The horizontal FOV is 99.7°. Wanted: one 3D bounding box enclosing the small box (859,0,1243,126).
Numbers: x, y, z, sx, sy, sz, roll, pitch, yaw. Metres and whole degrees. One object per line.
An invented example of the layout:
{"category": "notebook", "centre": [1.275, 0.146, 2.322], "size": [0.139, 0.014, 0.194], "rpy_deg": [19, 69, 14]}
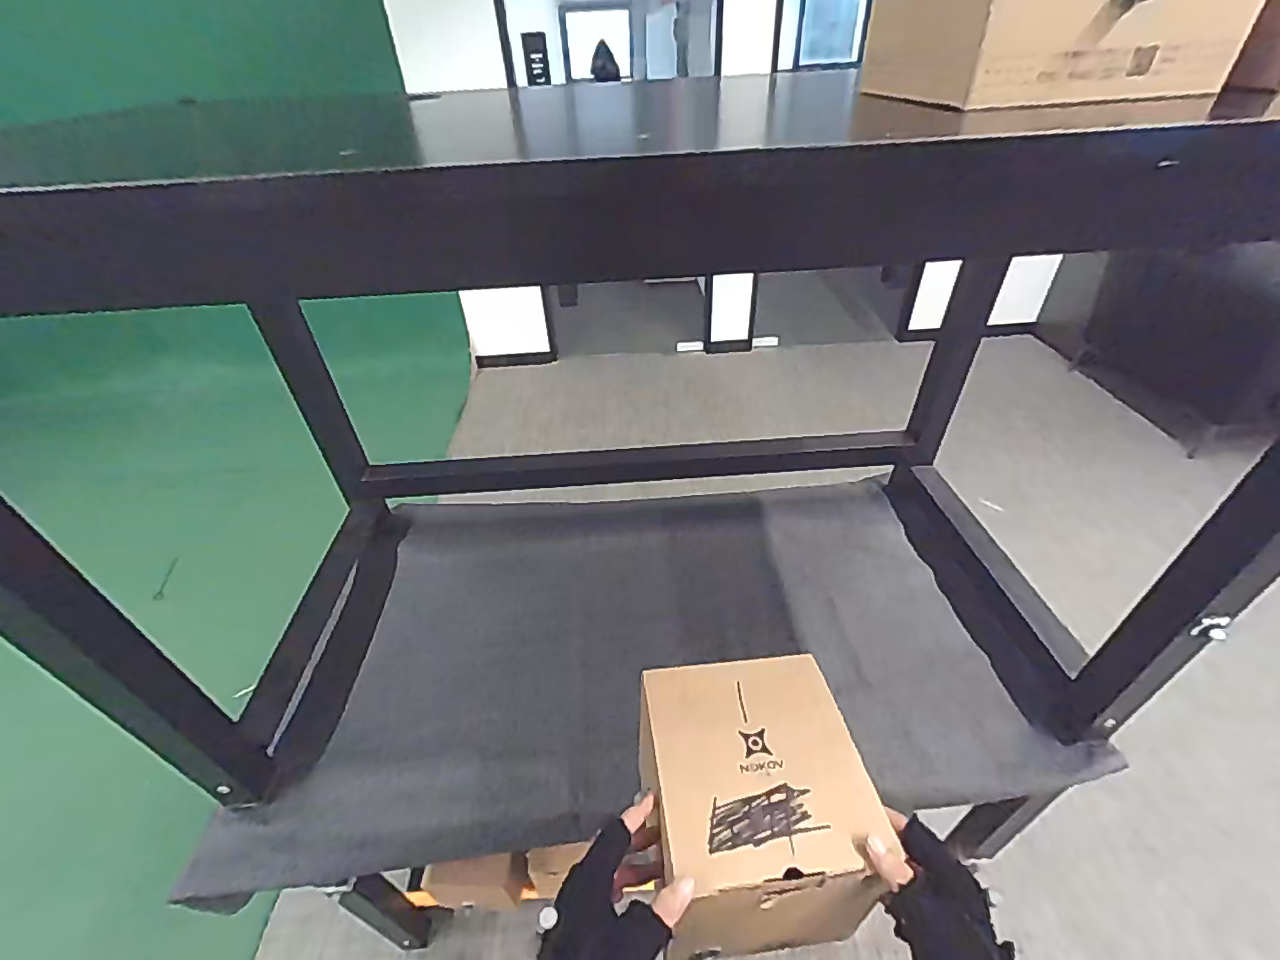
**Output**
{"category": "small box", "centre": [0.271, -0.348, 0.367], "size": [0.168, 0.176, 0.179], "rpy_deg": [-4, 38, -1]}
